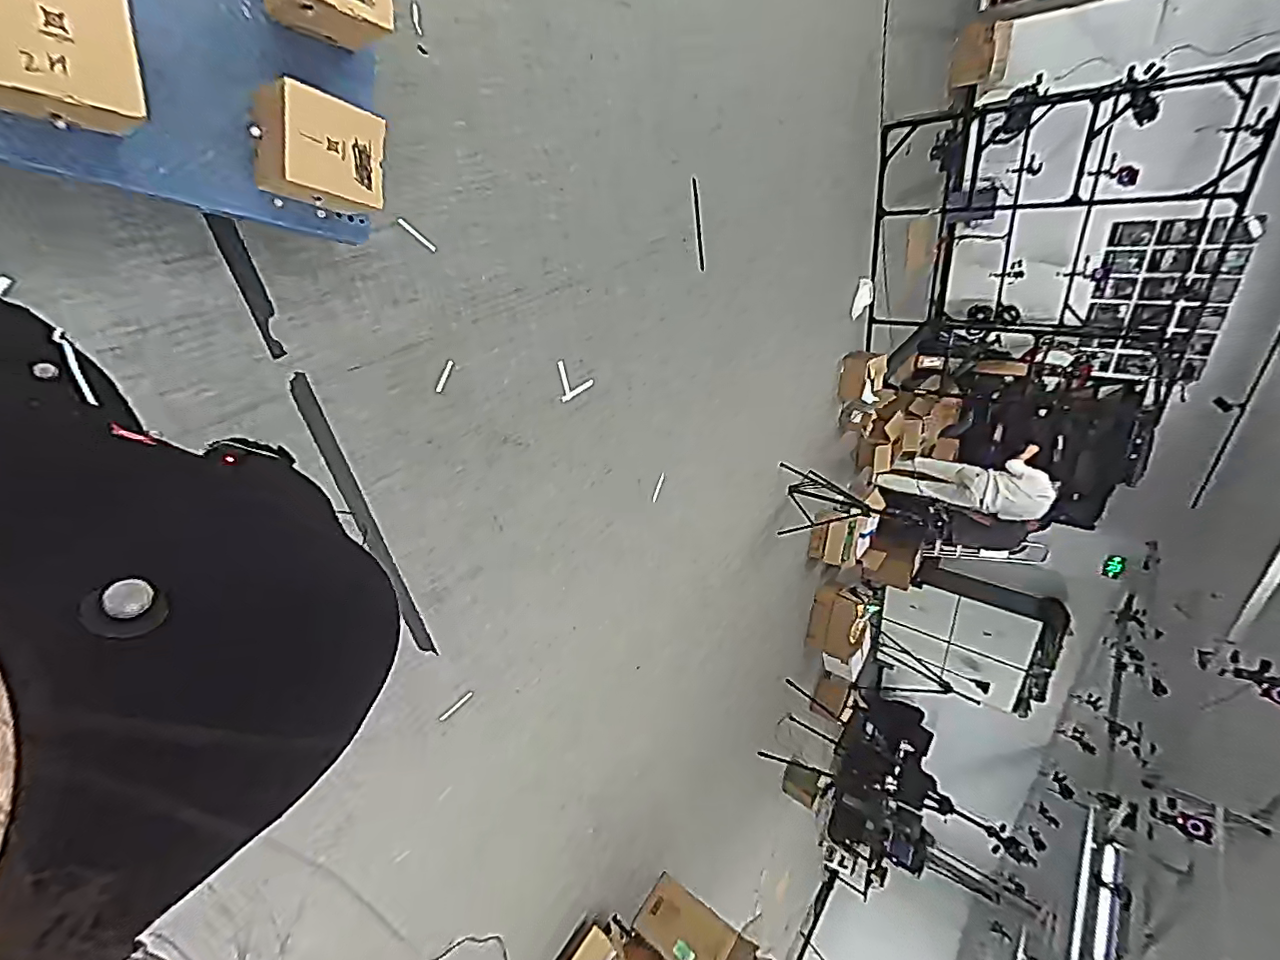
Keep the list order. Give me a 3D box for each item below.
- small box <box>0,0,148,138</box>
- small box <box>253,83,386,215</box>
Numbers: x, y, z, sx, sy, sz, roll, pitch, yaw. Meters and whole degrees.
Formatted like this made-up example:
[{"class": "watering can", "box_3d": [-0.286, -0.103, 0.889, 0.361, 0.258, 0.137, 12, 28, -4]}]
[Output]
[{"class": "small box", "box_3d": [-0.843, -0.618, 0.770, 0.168, 0.176, 0.179, -16, 116, -49]}, {"class": "small box", "box_3d": [-0.624, -0.629, 1.054, 0.179, 0.176, 0.168, -7, 109, -51]}]
